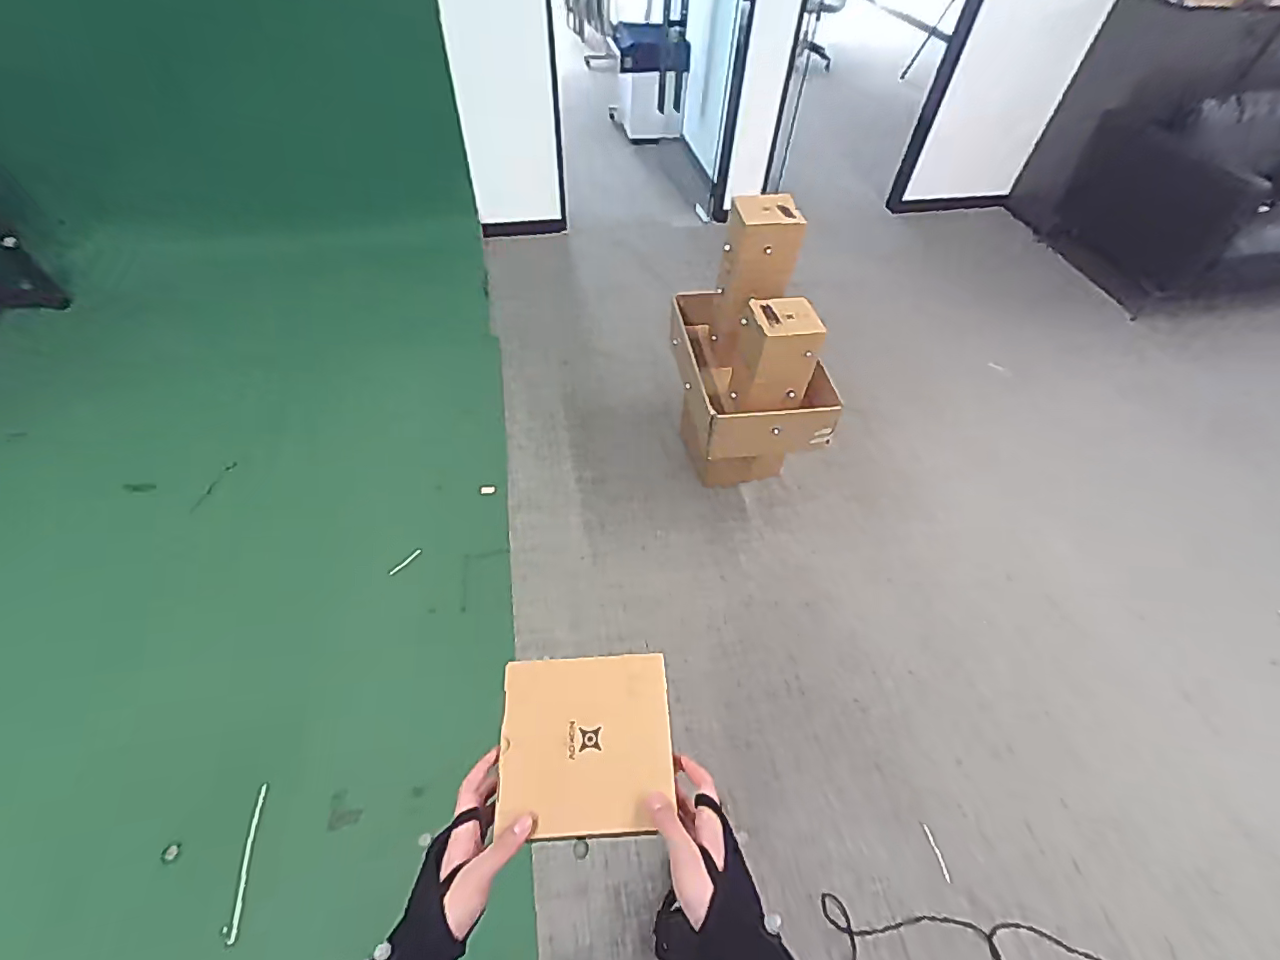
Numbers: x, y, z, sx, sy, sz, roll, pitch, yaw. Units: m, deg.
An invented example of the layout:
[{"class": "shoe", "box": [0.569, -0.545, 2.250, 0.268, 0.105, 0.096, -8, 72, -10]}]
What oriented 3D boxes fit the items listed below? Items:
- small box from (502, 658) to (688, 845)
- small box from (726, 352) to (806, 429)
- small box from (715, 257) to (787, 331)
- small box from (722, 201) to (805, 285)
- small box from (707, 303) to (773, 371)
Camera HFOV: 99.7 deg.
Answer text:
[{"class": "small box", "box": [-0.046, 0.309, 0.612, 0.179, 0.176, 0.168, -3, 56, -2]}, {"class": "small box", "box": [0.379, -0.273, 1.662, 0.179, 0.176, 0.168, -6, 51, -9]}, {"class": "small box", "box": [0.341, -0.586, 1.705, 0.179, 0.176, 0.168, -4, 53, -6]}, {"class": "small box", "box": [0.352, -0.688, 1.576, 0.179, 0.176, 0.168, -4, 53, -7]}, {"class": "small box", "box": [0.329, -0.482, 1.832, 0.179, 0.176, 0.168, -2, 52, -7]}]
